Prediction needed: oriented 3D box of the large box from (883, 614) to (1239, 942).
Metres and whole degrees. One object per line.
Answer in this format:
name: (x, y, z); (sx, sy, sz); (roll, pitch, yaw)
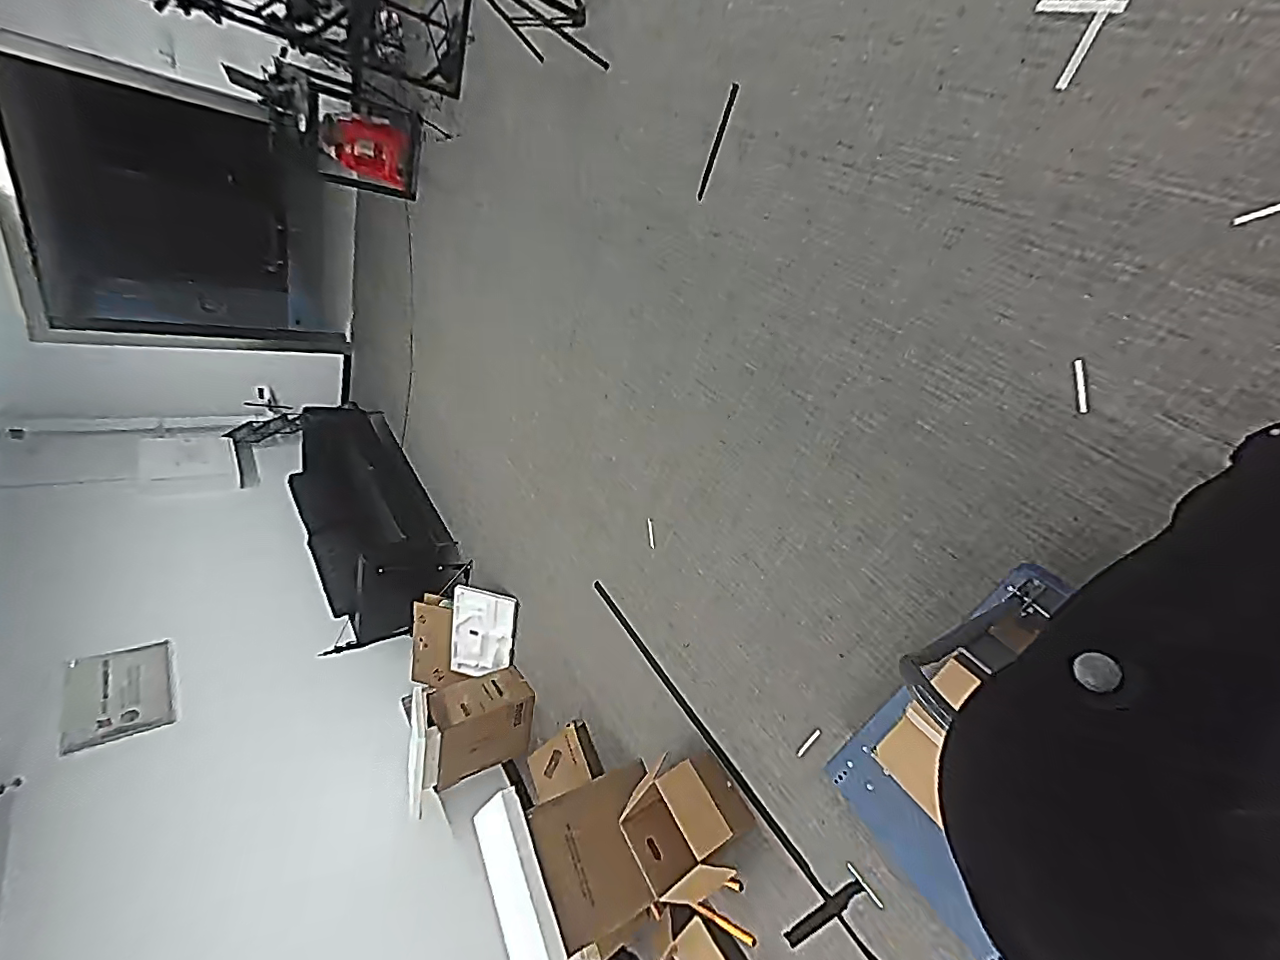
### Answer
large box: (0.788, 0.535, 1.051); (0.408, 0.320, 0.320); (45, 127, 39)
